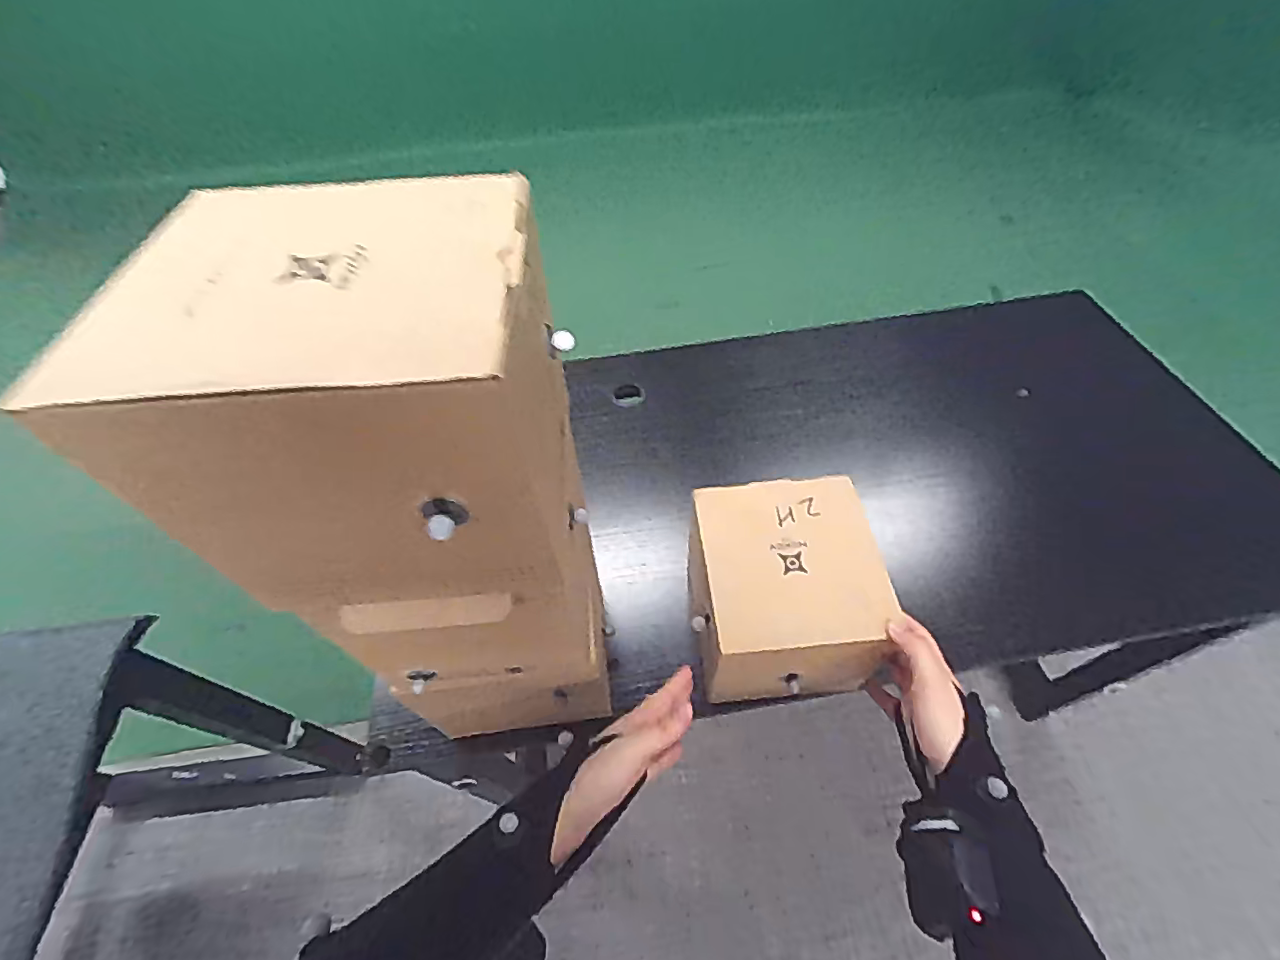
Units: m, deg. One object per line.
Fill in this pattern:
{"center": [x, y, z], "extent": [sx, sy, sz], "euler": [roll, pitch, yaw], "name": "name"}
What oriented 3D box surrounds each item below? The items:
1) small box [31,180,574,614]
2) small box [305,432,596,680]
{"center": [-0.131, -0.039, 0.302], "extent": [0.179, 0.176, 0.168], "euler": [-5, 51, -1], "name": "small box"}
{"center": [-0.126, 0.051, 0.437], "extent": [0.168, 0.176, 0.179], "euler": [-5, 52, -2], "name": "small box"}
